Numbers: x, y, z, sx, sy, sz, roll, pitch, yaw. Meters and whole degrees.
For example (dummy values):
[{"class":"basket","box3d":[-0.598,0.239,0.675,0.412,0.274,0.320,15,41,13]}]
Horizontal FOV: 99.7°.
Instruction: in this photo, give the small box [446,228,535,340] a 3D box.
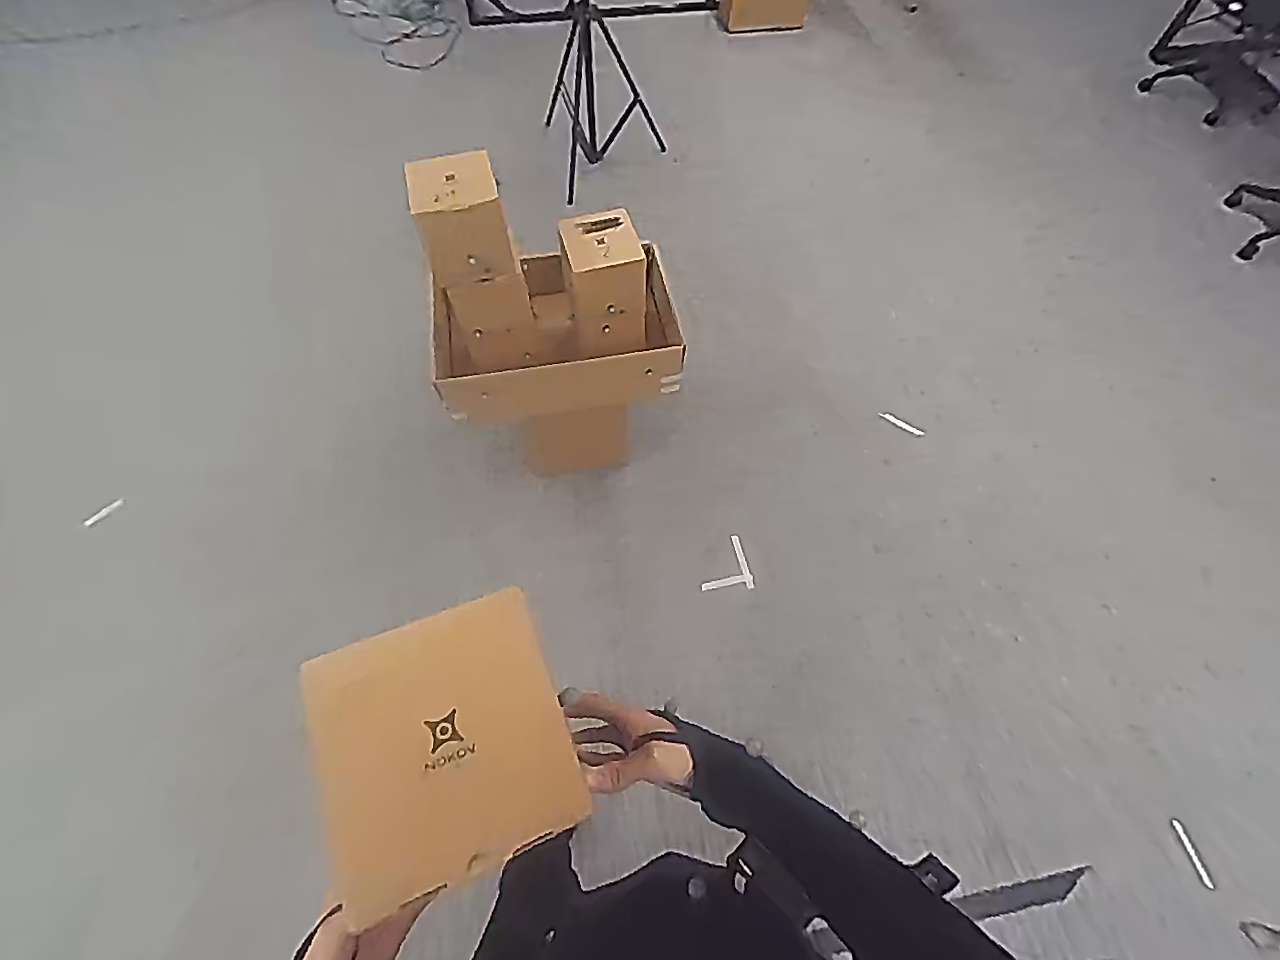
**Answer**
[{"class":"small box","box3d":[-0.347,-0.445,1.253,0.168,0.176,0.179,-13,61,-7]}]

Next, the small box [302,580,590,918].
[{"class":"small box","box3d":[-0.152,0.208,0.458,0.168,0.176,0.179,-18,72,-15]}]

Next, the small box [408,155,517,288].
[{"class":"small box","box3d":[-0.360,-0.528,1.110,0.168,0.176,0.179,-14,62,-8]}]
